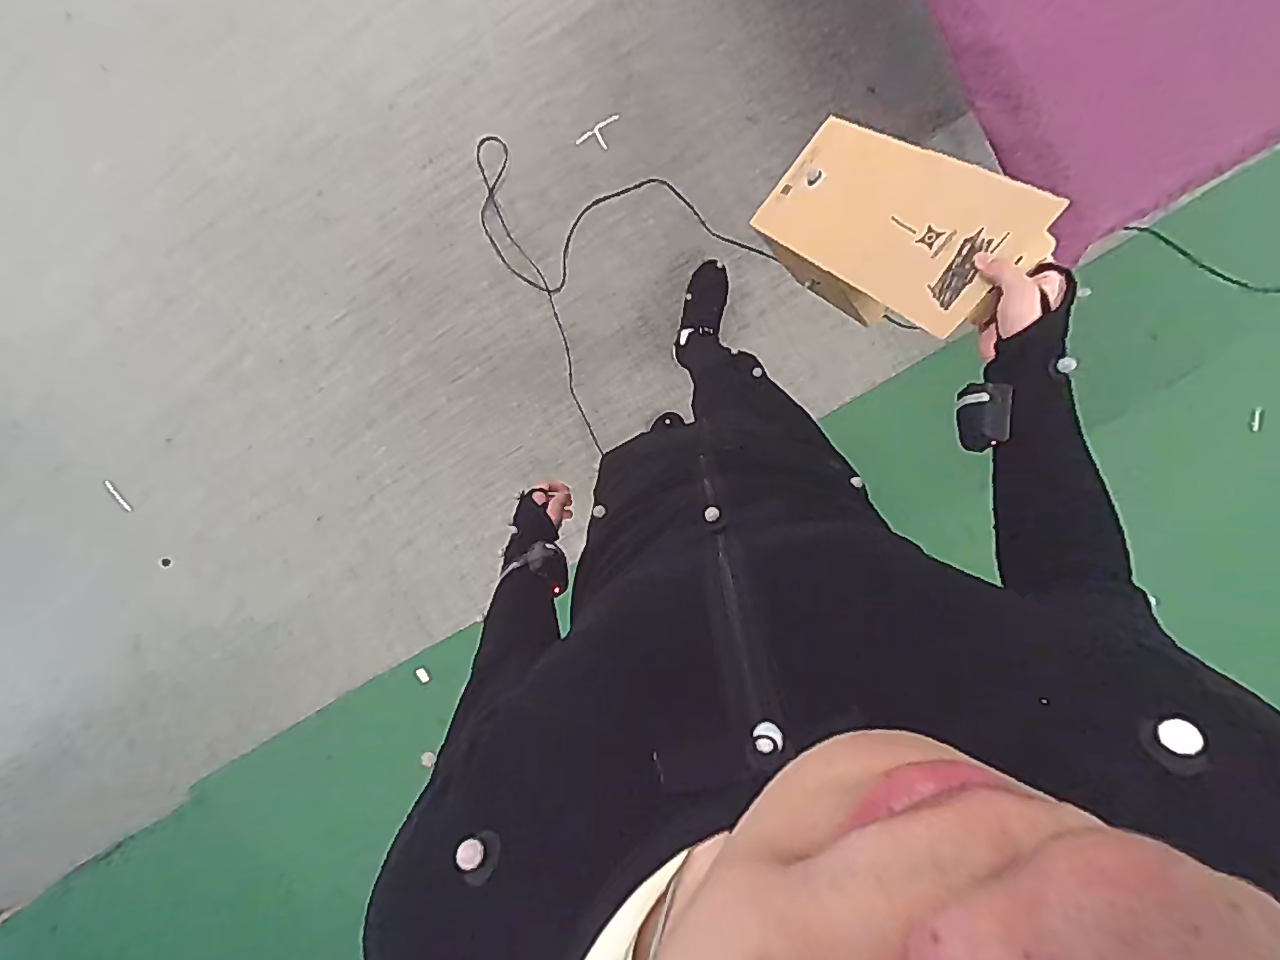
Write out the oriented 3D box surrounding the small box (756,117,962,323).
[{"bbox_3d":[0.296,-0.356,0.743,0.179,0.176,0.168,19,116,-48],"label":"small box"}]
